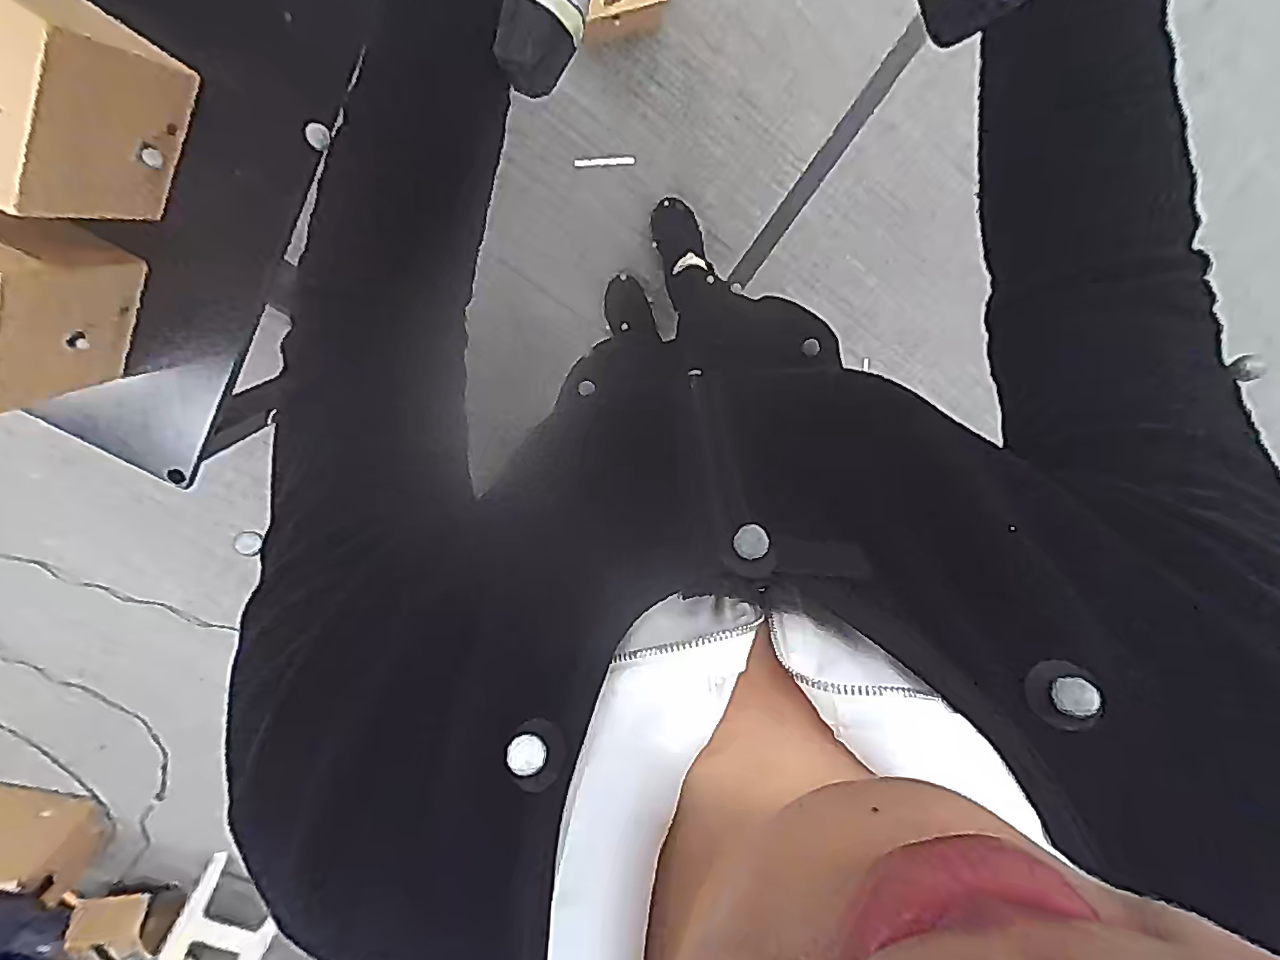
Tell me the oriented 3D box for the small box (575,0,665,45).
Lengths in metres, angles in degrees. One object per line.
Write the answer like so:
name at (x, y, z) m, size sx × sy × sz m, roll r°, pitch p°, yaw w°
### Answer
small box at (-0.053, -0.976, 1.029) m, size 0.168 × 0.176 × 0.179 m, roll -12°, pitch 115°, yaw 4°

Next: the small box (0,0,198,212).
small box at (-0.572, -0.368, 0.498) m, size 0.179 × 0.176 × 0.168 m, roll 31°, pitch 111°, yaw -15°
